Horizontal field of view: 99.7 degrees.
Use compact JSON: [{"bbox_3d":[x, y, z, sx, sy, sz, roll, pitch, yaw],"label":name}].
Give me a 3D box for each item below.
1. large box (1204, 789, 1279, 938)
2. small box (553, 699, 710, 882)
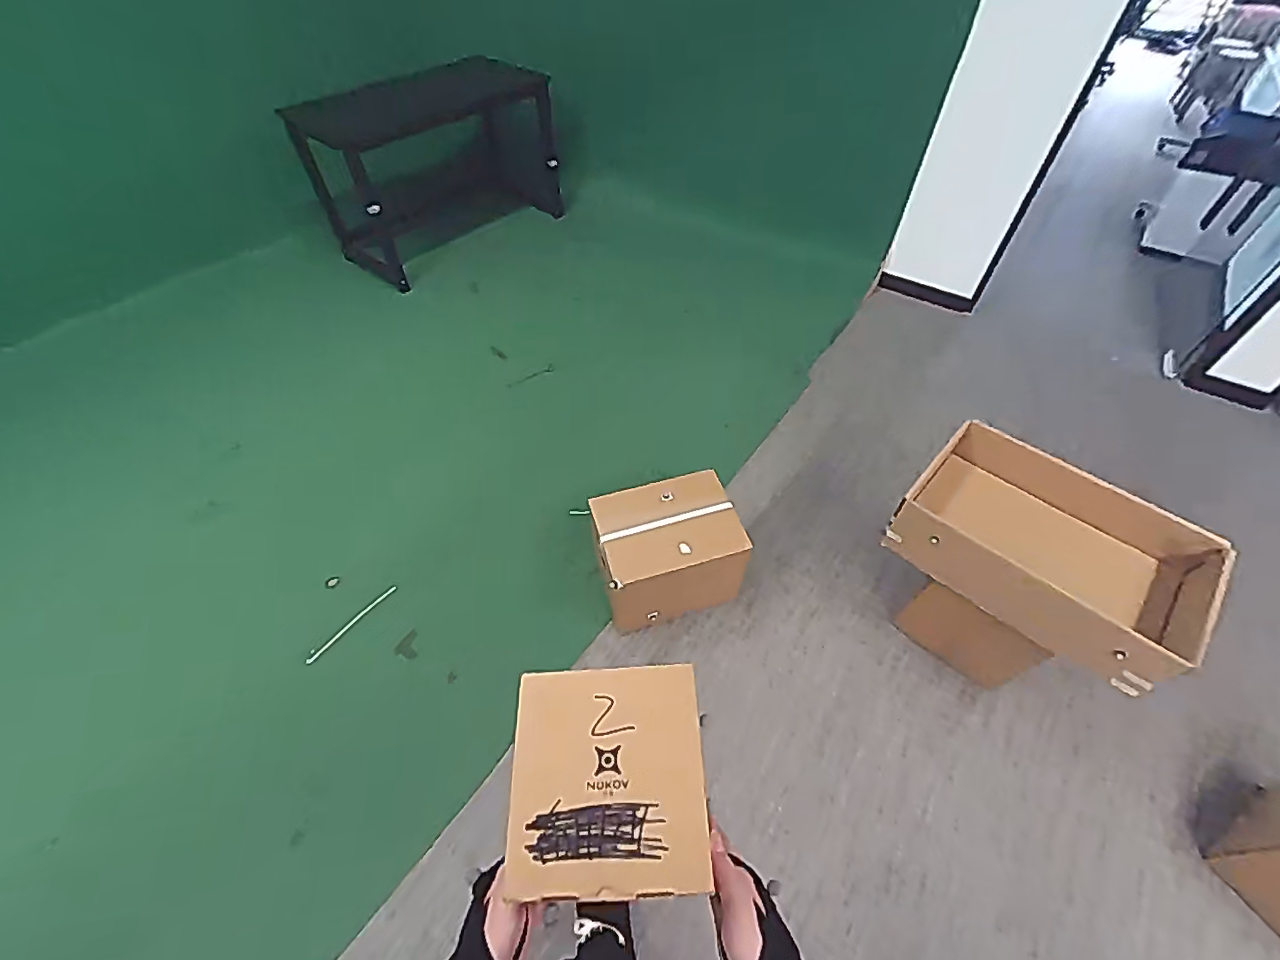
[{"bbox_3d":[1.586,0.903,1.130,0.320,0.320,0.408,-24,54,-19],"label":"large box"},{"bbox_3d":[-0.001,0.380,0.662,0.168,0.176,0.179,-3,54,4],"label":"small box"}]
